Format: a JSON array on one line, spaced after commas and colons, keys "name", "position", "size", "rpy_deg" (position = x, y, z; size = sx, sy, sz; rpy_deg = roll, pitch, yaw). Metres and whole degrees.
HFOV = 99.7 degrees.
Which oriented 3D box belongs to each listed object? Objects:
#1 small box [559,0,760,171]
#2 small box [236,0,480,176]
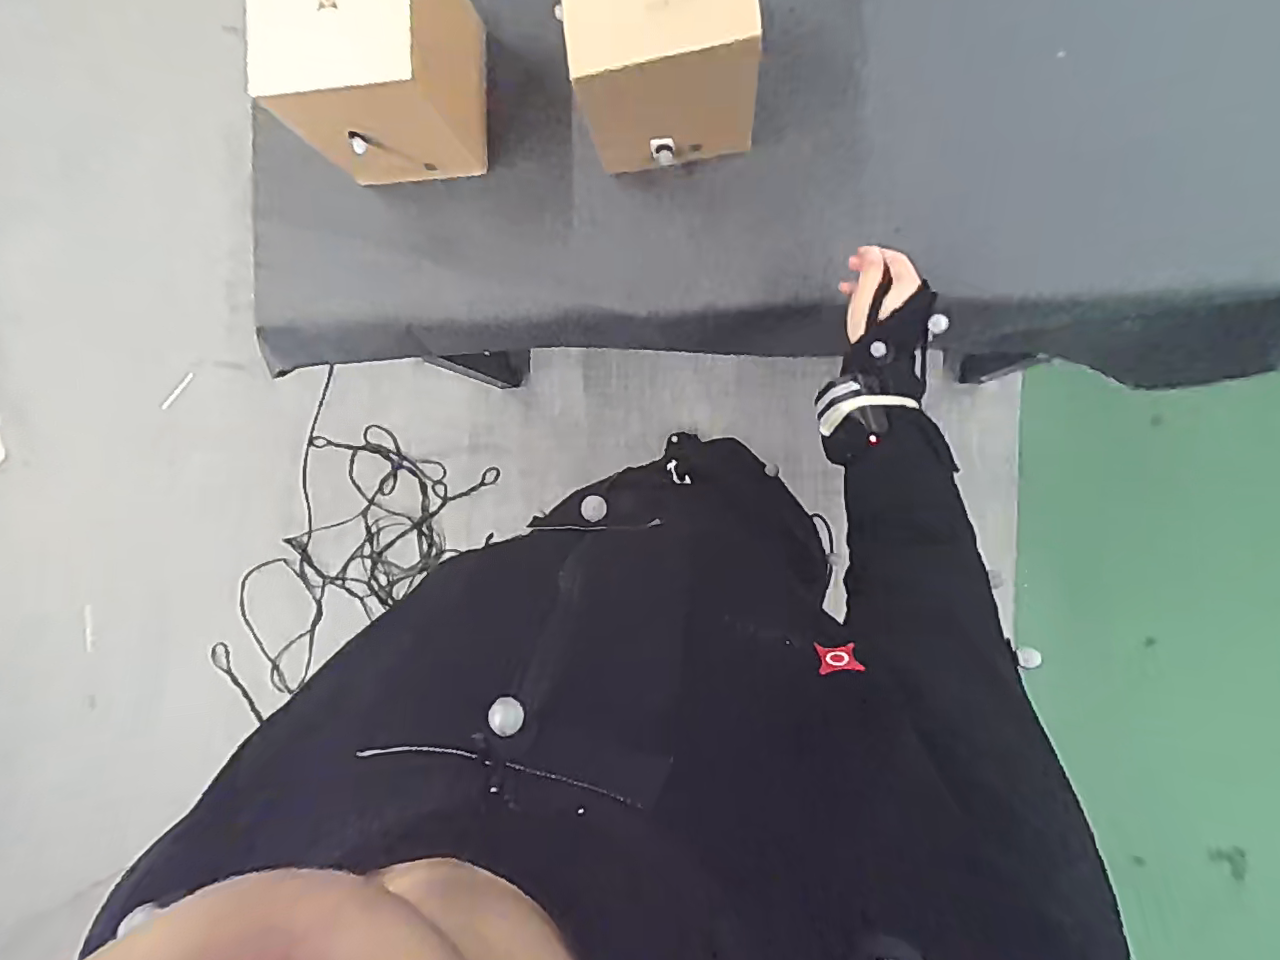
[{"name": "small box", "position": [0.018, -0.443, 0.527], "size": [0.168, 0.176, 0.179], "rpy_deg": [-8, 91, 9]}, {"name": "small box", "position": [-0.279, -0.443, 0.565], "size": [0.168, 0.176, 0.179], "rpy_deg": [-1, 90, 7]}]
